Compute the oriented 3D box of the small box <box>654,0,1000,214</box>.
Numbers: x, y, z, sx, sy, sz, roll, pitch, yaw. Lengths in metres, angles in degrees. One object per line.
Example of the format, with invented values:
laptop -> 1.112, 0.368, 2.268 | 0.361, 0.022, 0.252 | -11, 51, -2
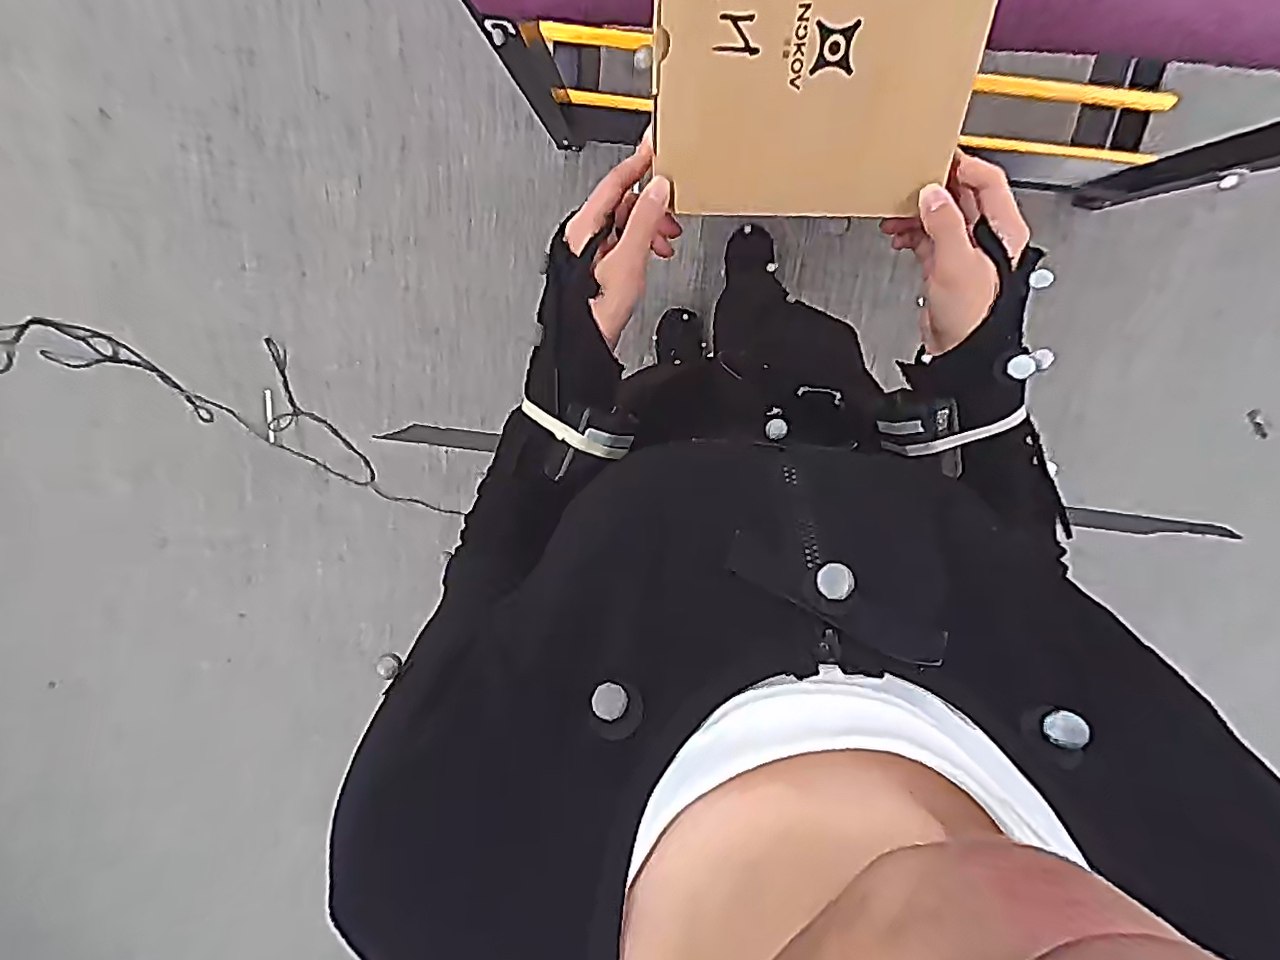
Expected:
small box -> 0.101, -0.280, 0.354 | 0.179, 0.176, 0.168 | 3, 123, 2
